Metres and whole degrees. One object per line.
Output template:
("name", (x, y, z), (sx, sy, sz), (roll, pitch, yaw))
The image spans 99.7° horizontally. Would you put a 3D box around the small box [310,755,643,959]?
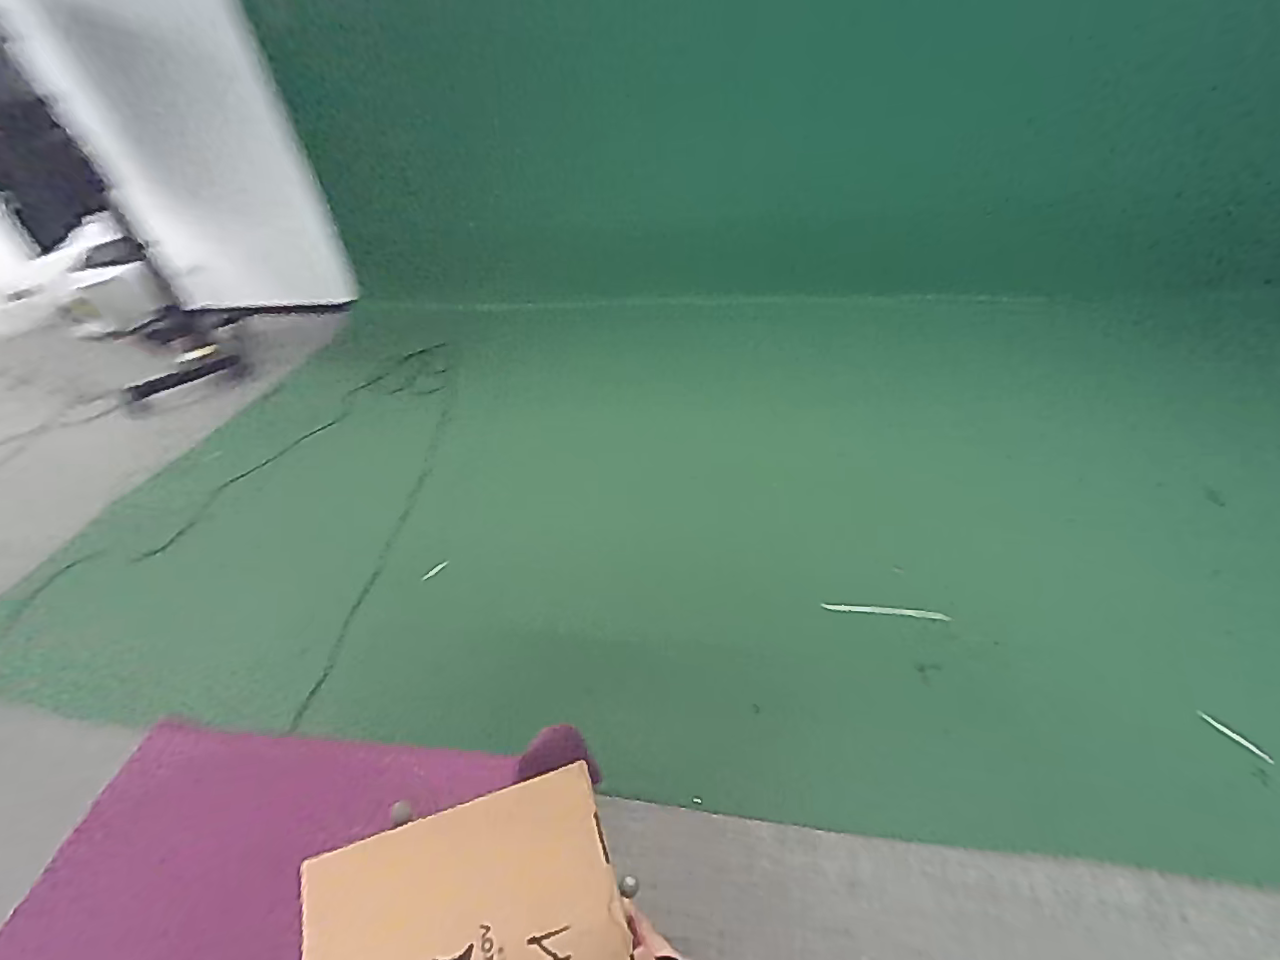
("small box", (-0.095, 0.309, 0.370), (0.179, 0.176, 0.168), (-13, 60, -11))
